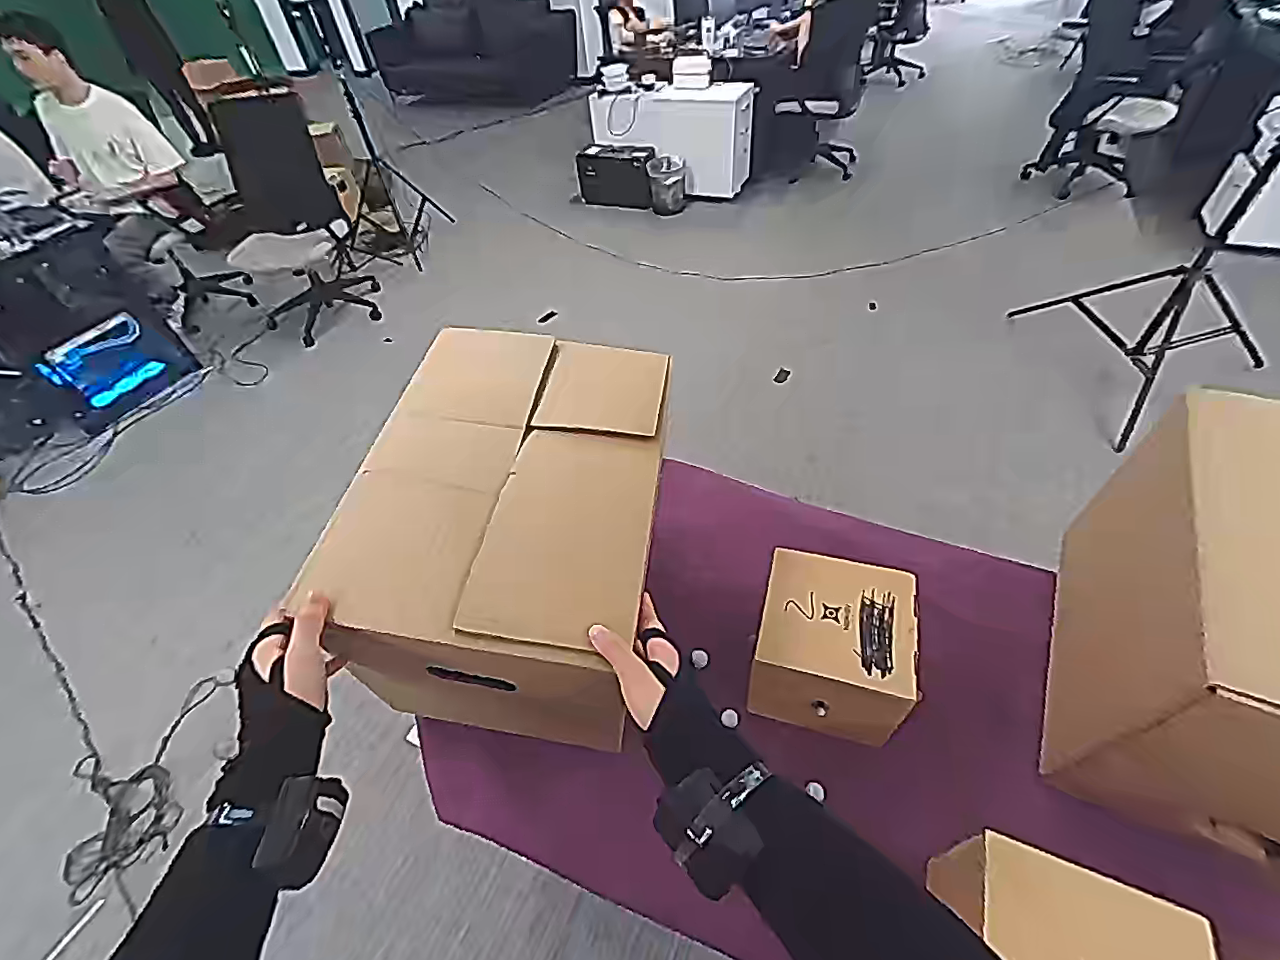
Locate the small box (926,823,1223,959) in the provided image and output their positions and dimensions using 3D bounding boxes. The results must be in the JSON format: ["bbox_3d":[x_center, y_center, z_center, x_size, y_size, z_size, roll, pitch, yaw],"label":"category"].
[{"bbox_3d":[0.363,0.444,0.474,0.168,0.176,0.179,14,52,19],"label":"small box"}]
